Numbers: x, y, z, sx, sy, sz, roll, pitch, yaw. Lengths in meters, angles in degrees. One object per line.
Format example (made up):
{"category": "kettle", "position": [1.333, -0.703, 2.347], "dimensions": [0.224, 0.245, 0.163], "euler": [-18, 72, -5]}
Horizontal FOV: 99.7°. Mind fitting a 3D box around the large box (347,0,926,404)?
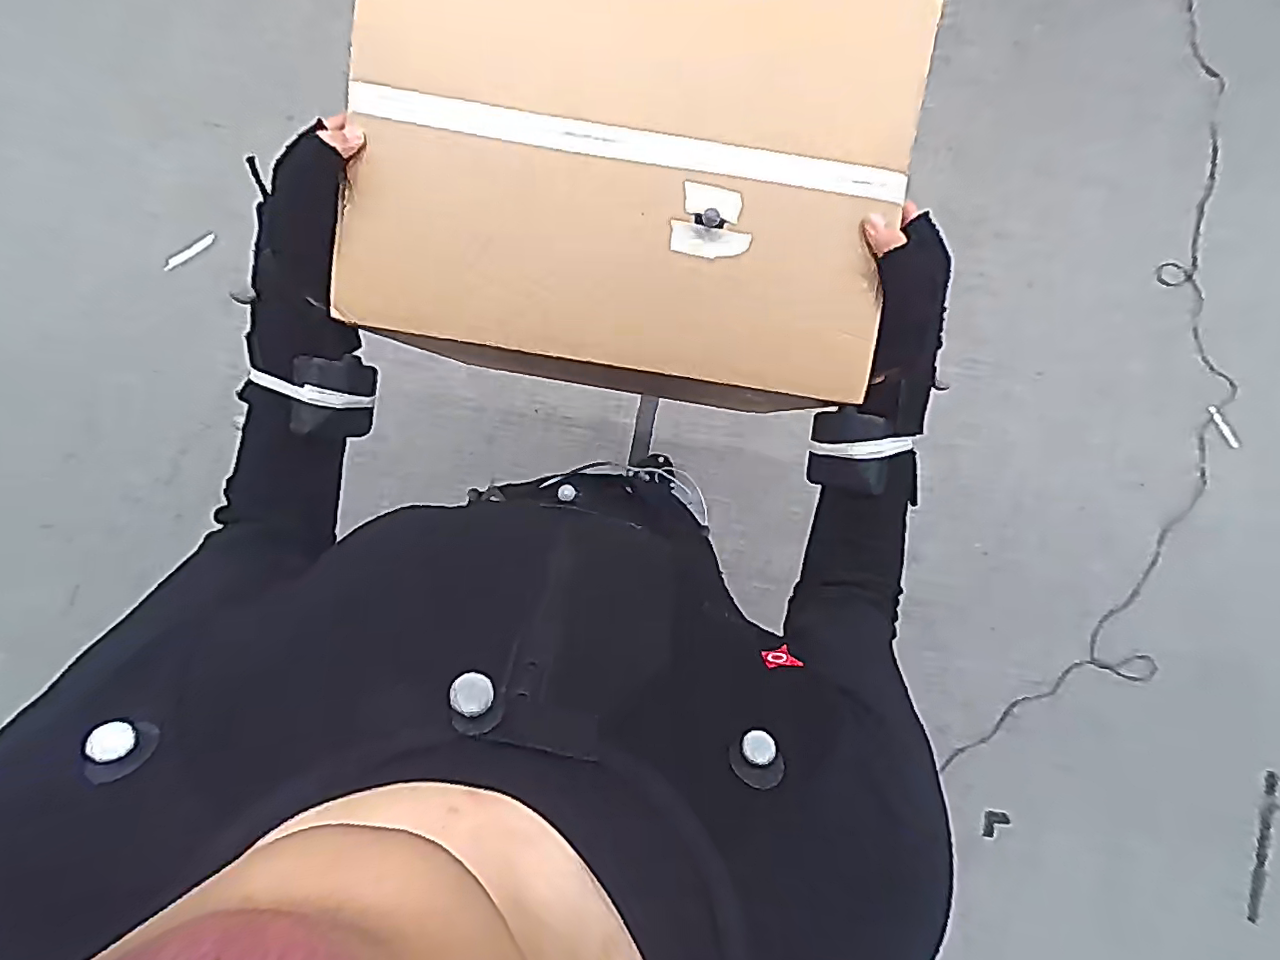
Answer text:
{"category": "large box", "position": [-0.011, -0.261, 0.549], "dimensions": [0.408, 0.320, 0.320], "euler": [9, 97, -2]}
